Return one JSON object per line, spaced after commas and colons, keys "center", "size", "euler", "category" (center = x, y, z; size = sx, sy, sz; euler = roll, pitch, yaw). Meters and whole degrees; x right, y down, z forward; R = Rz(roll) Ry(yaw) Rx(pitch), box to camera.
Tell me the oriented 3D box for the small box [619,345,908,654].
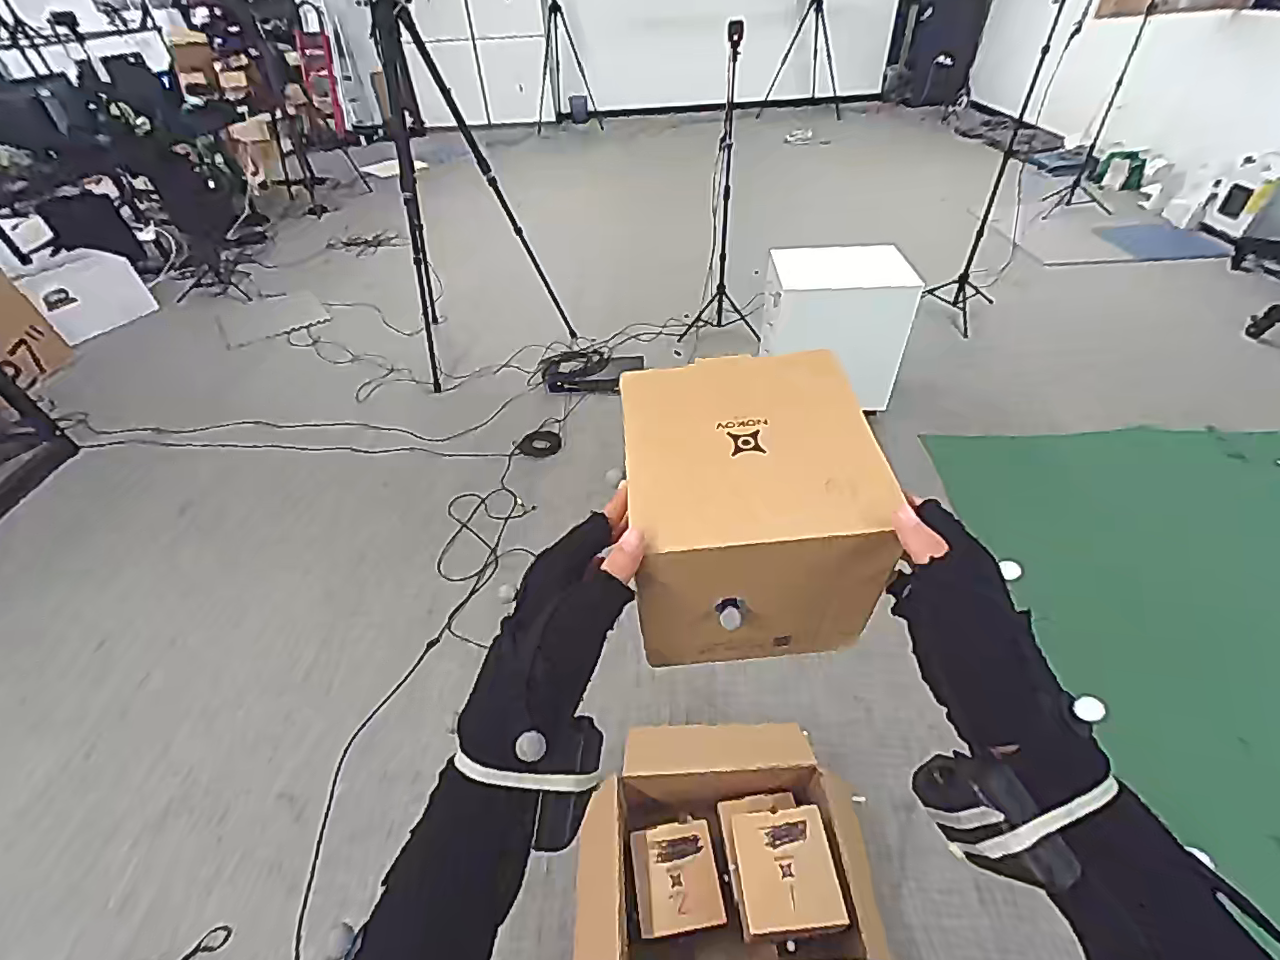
{"center": [0.077, 0.022, 0.421], "size": [0.168, 0.176, 0.179], "euler": [-6, 47, 2], "category": "small box"}
